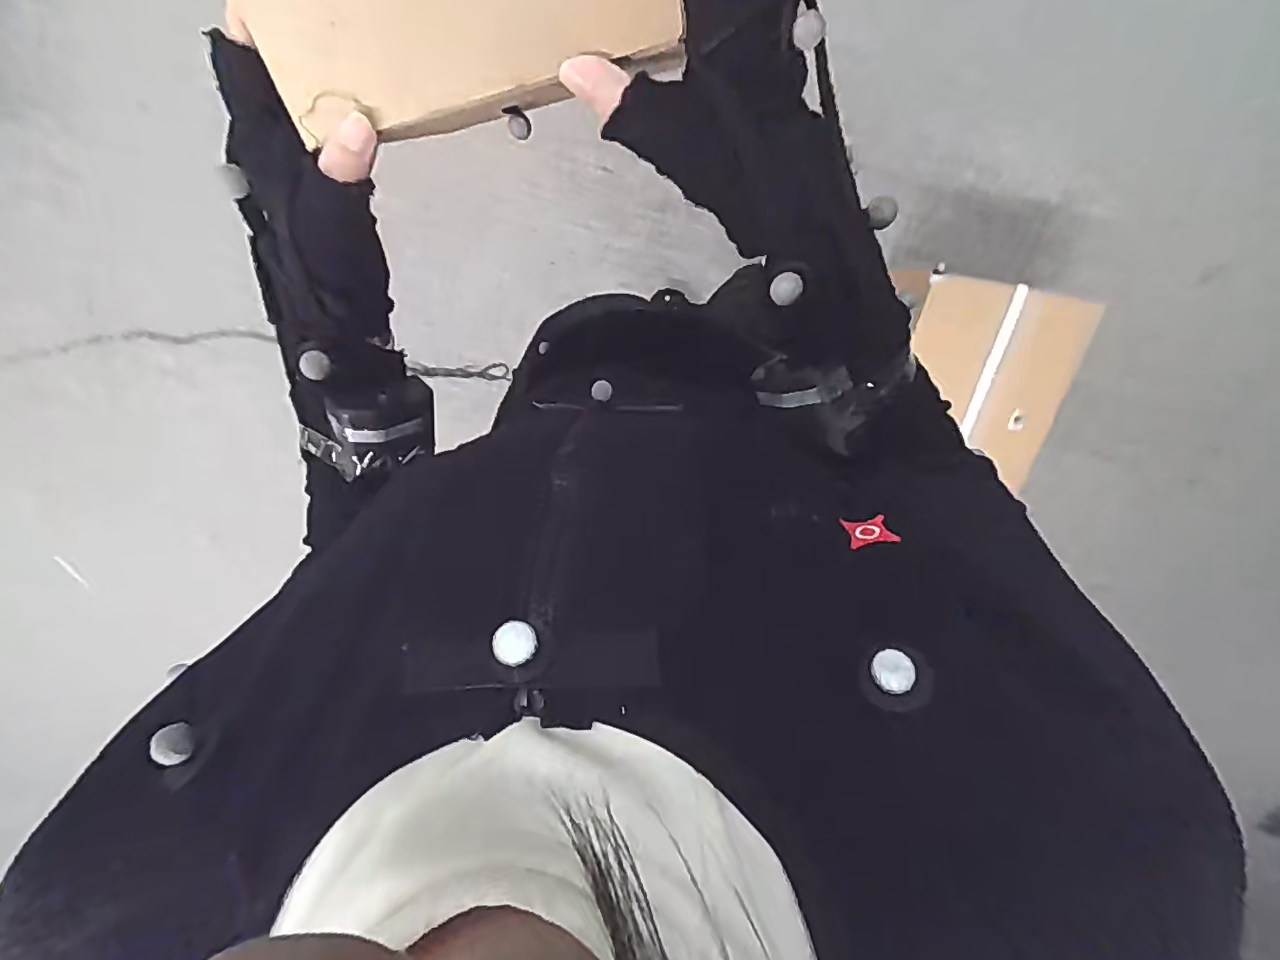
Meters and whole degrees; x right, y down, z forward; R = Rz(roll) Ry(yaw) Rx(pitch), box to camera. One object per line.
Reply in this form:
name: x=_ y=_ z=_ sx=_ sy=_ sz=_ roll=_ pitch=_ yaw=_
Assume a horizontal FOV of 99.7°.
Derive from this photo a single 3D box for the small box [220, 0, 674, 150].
small box: x=-0.083 y=-0.271 z=0.247 sx=0.179 sy=0.176 sz=0.168 roll=-8 pitch=124 yaw=12
